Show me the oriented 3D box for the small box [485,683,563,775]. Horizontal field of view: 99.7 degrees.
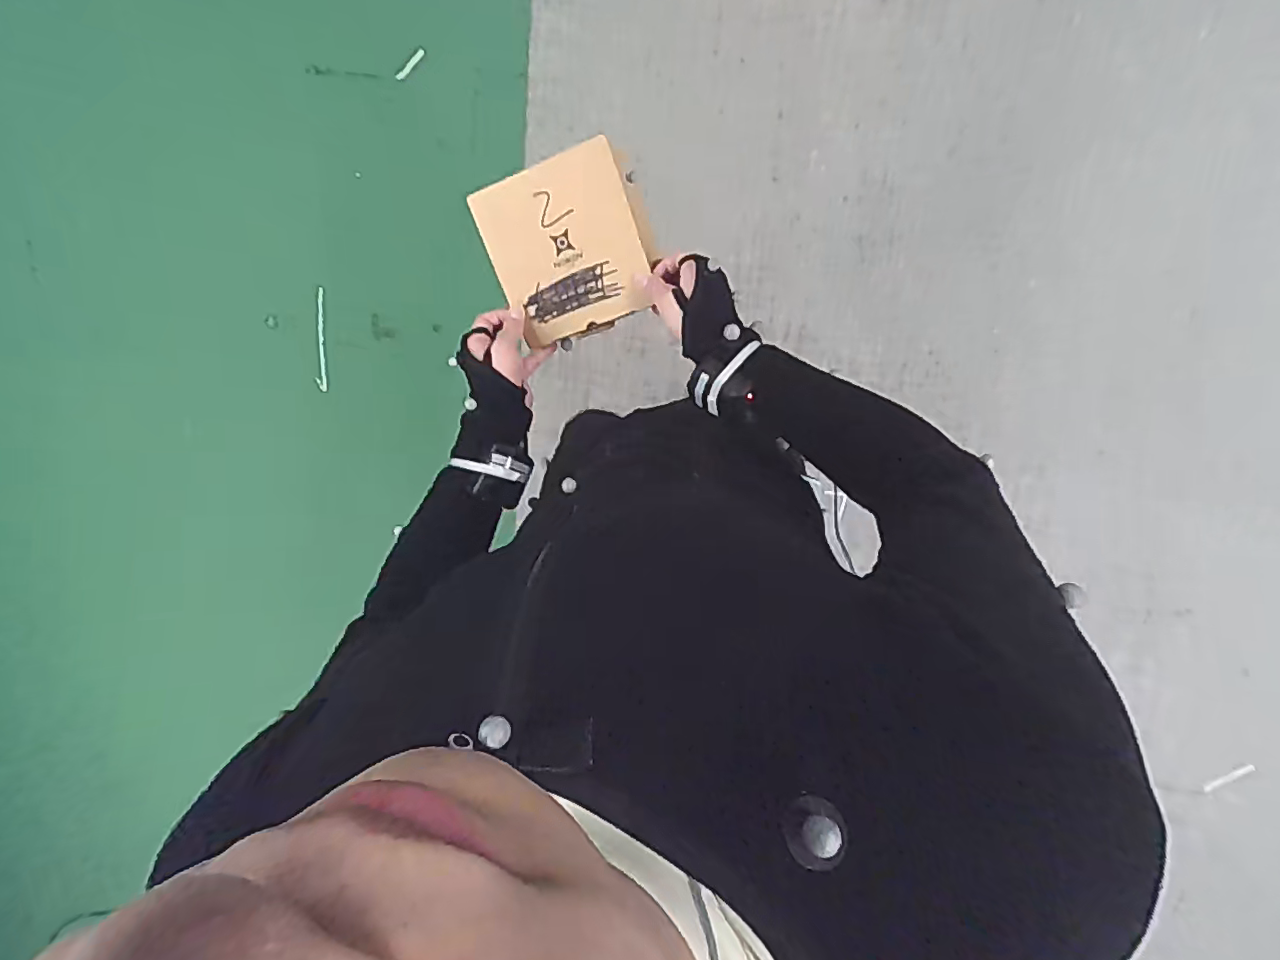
[{"bbox_3d":[-0.332,0.716,1.573,0.179,0.176,0.168,9,102,5],"label":"small box"}]
